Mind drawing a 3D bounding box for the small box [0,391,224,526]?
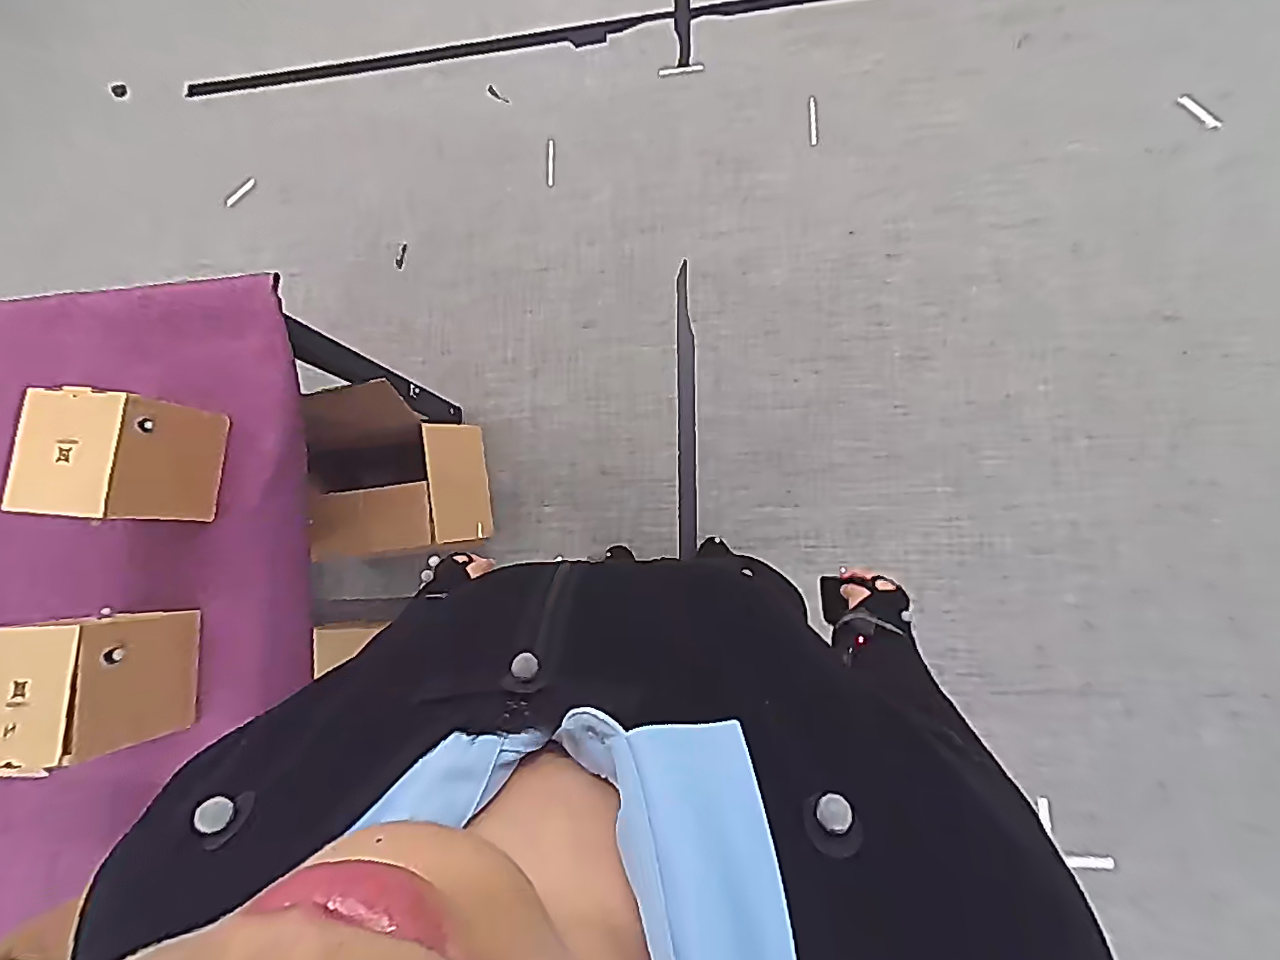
[{"bbox_3d":[-0.775,-0.025,0.812,0.168,0.176,0.179,3,83,8],"label":"small box"}]

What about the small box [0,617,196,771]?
[{"bbox_3d":[-0.782,0.291,0.771,0.168,0.176,0.179,-4,82,9],"label":"small box"}]
